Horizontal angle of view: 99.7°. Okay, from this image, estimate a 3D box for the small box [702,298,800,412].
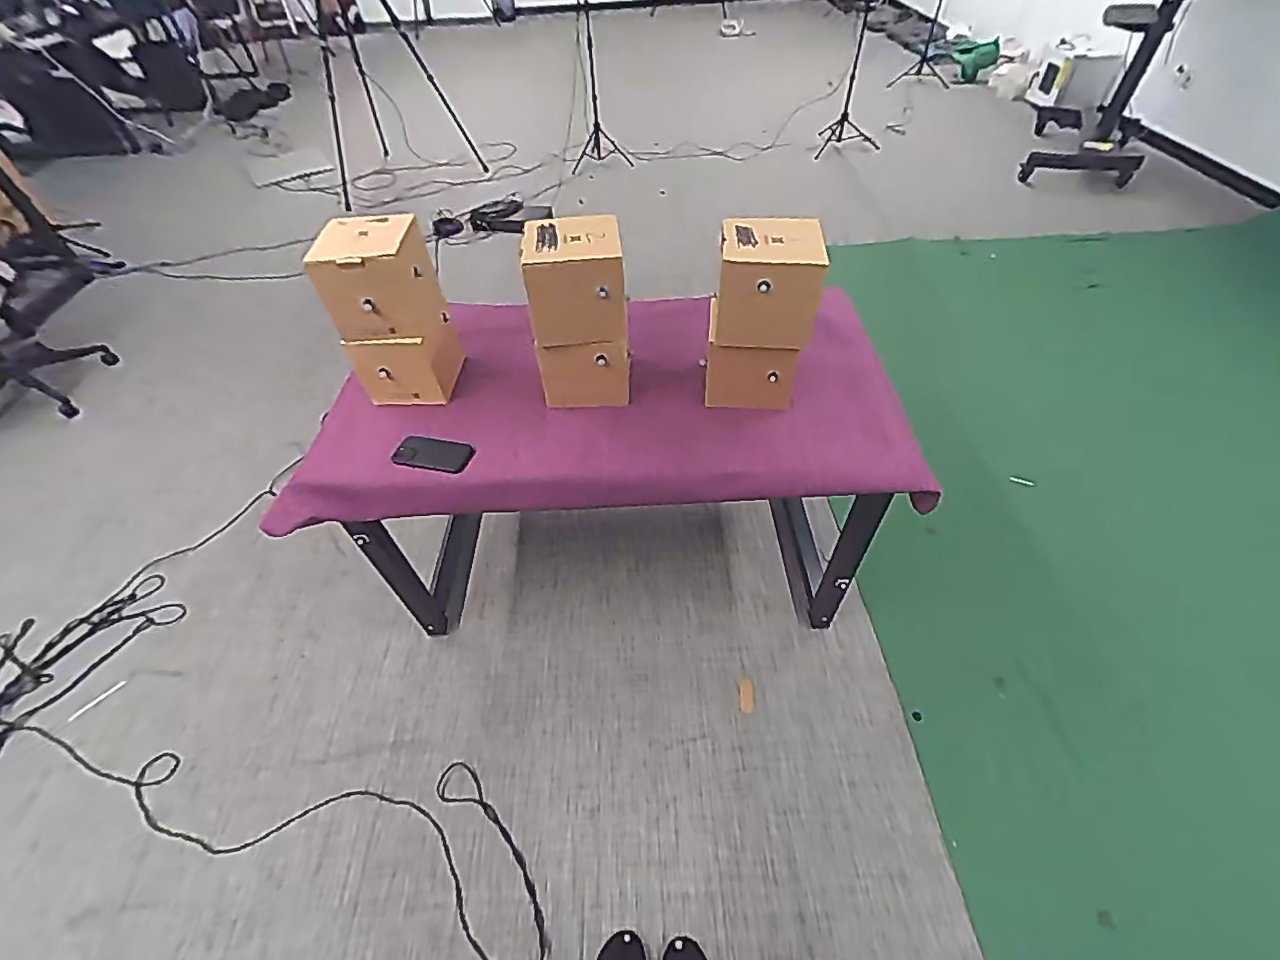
[{"bbox_3d":[0.226,-0.258,1.129,0.179,0.176,0.168,5,49,7],"label":"small box"}]

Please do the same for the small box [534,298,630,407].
[{"bbox_3d":[-0.113,-0.269,1.152,0.179,0.176,0.168,0,49,3],"label":"small box"}]

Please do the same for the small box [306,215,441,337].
[{"bbox_3d":[-0.509,-0.396,1.063,0.168,0.176,0.179,-3,50,-1],"label":"small box"}]

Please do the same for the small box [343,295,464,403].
[{"bbox_3d":[-0.503,-0.282,1.182,0.168,0.176,0.179,0,49,3],"label":"small box"}]

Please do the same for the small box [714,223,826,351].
[{"bbox_3d":[0.229,-0.353,0.996,0.179,0.176,0.168,5,49,6],"label":"small box"}]
